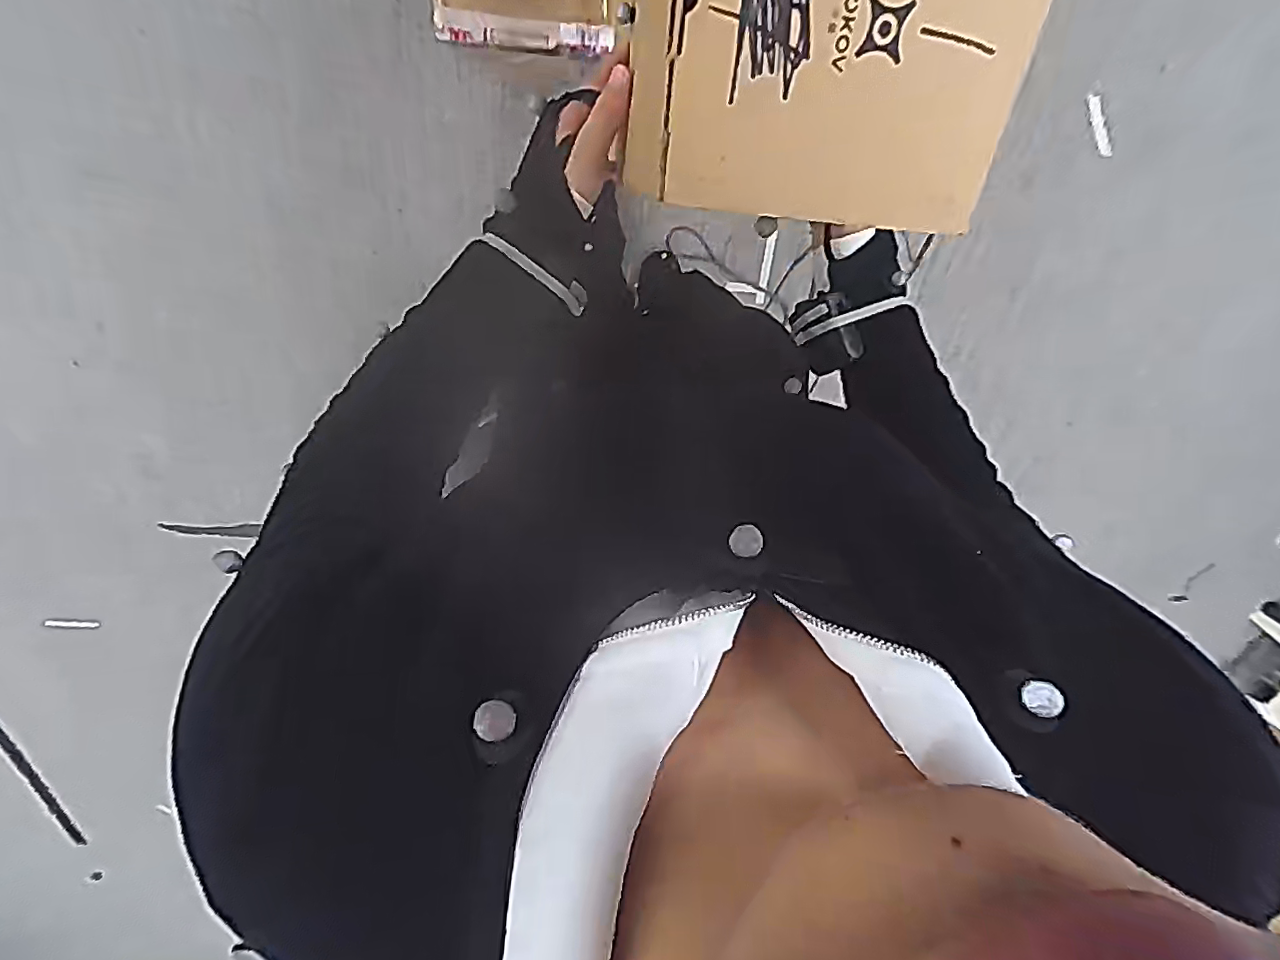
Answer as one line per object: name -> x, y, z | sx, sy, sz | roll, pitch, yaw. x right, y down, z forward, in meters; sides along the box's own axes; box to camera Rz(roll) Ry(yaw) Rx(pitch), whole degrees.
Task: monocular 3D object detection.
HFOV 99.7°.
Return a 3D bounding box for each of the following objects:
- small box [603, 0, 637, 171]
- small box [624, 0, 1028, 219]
small box -> 0.069, -0.350, 0.458 | 0.179, 0.176, 0.168 | 0, 121, -10
small box -> 0.089, -0.261, 0.320 | 0.179, 0.176, 0.168 | 1, 121, -11
